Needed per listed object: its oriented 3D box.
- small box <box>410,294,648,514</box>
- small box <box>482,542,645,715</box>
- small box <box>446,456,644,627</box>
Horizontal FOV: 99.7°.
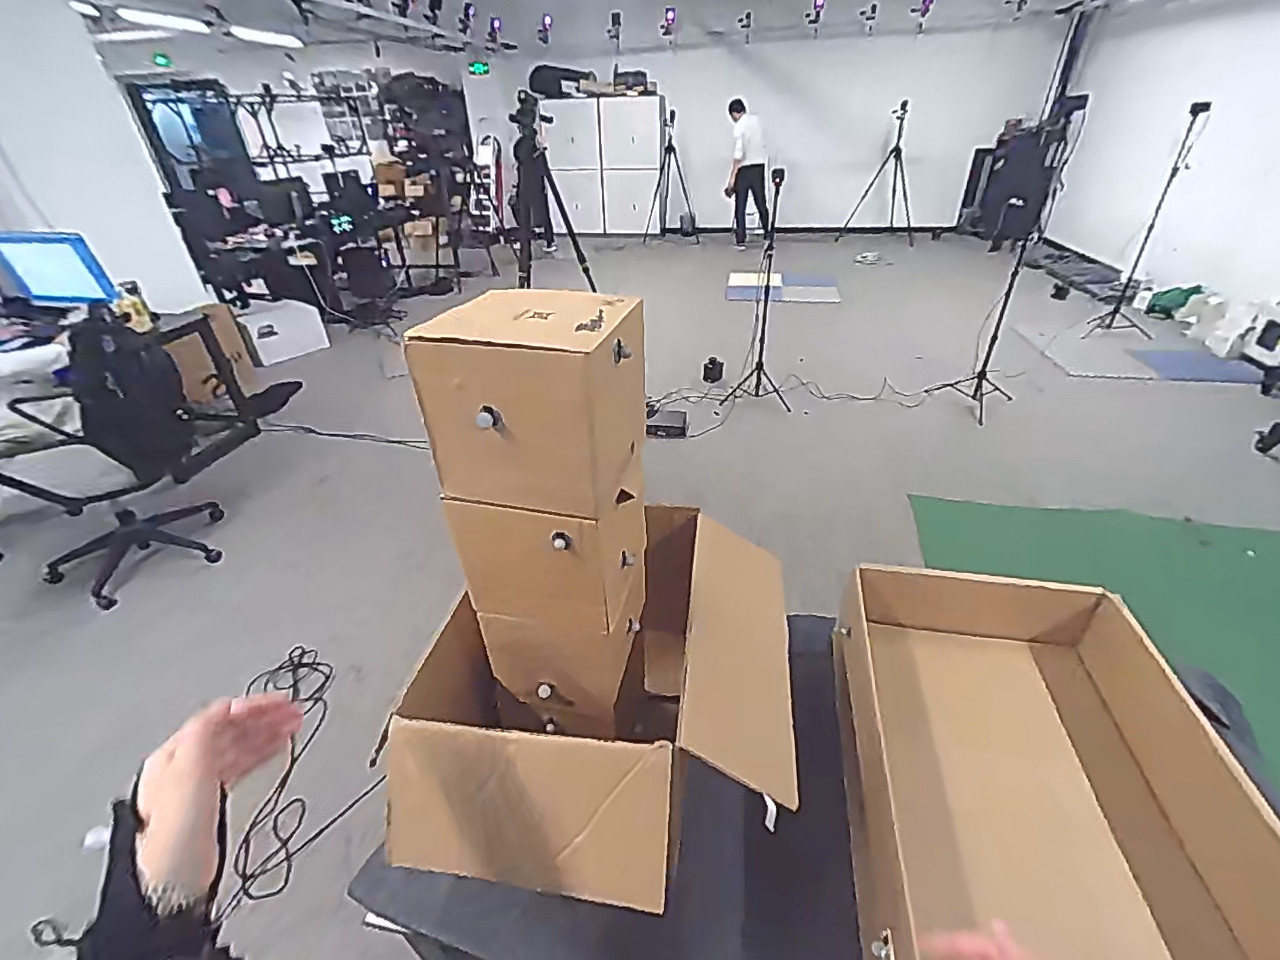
[{"bbox_3d":[-0.095,-0.082,0.555,0.179,0.176,0.168,7,35,13],"label":"small box"},{"bbox_3d":[-0.092,0.185,0.742,0.168,0.176,0.179,7,37,12],"label":"small box"},{"bbox_3d":[-0.098,0.053,0.649,0.179,0.176,0.168,7,35,12],"label":"small box"}]
